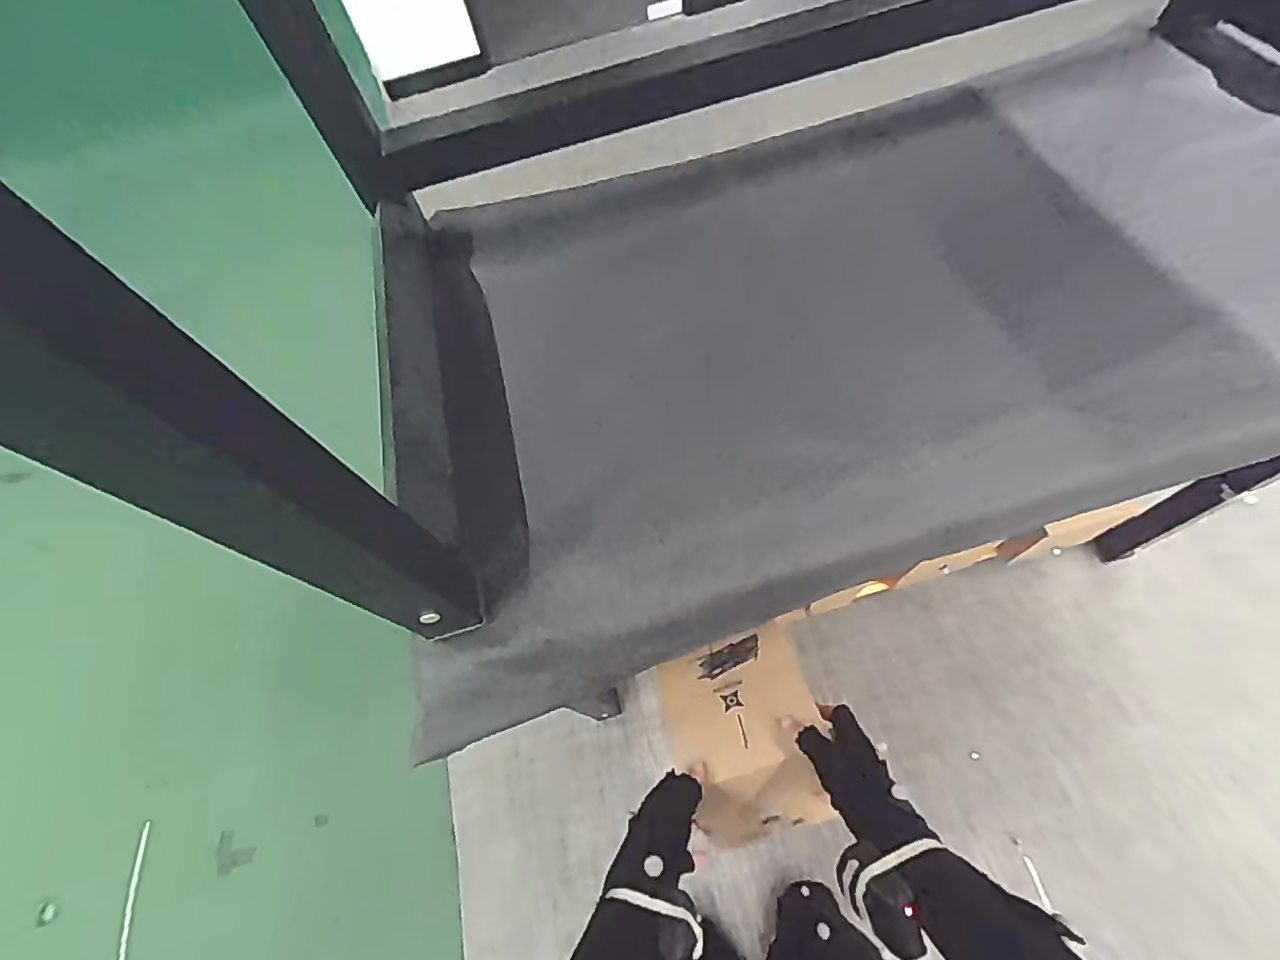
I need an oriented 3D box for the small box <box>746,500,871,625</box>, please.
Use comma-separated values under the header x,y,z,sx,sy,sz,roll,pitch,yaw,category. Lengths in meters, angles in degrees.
x,y,z,sx,sy,sz,roll,pitch,yaw,category
0.309,0.166,1.031,0.168,0.176,0.179,-15,62,-1,small box
